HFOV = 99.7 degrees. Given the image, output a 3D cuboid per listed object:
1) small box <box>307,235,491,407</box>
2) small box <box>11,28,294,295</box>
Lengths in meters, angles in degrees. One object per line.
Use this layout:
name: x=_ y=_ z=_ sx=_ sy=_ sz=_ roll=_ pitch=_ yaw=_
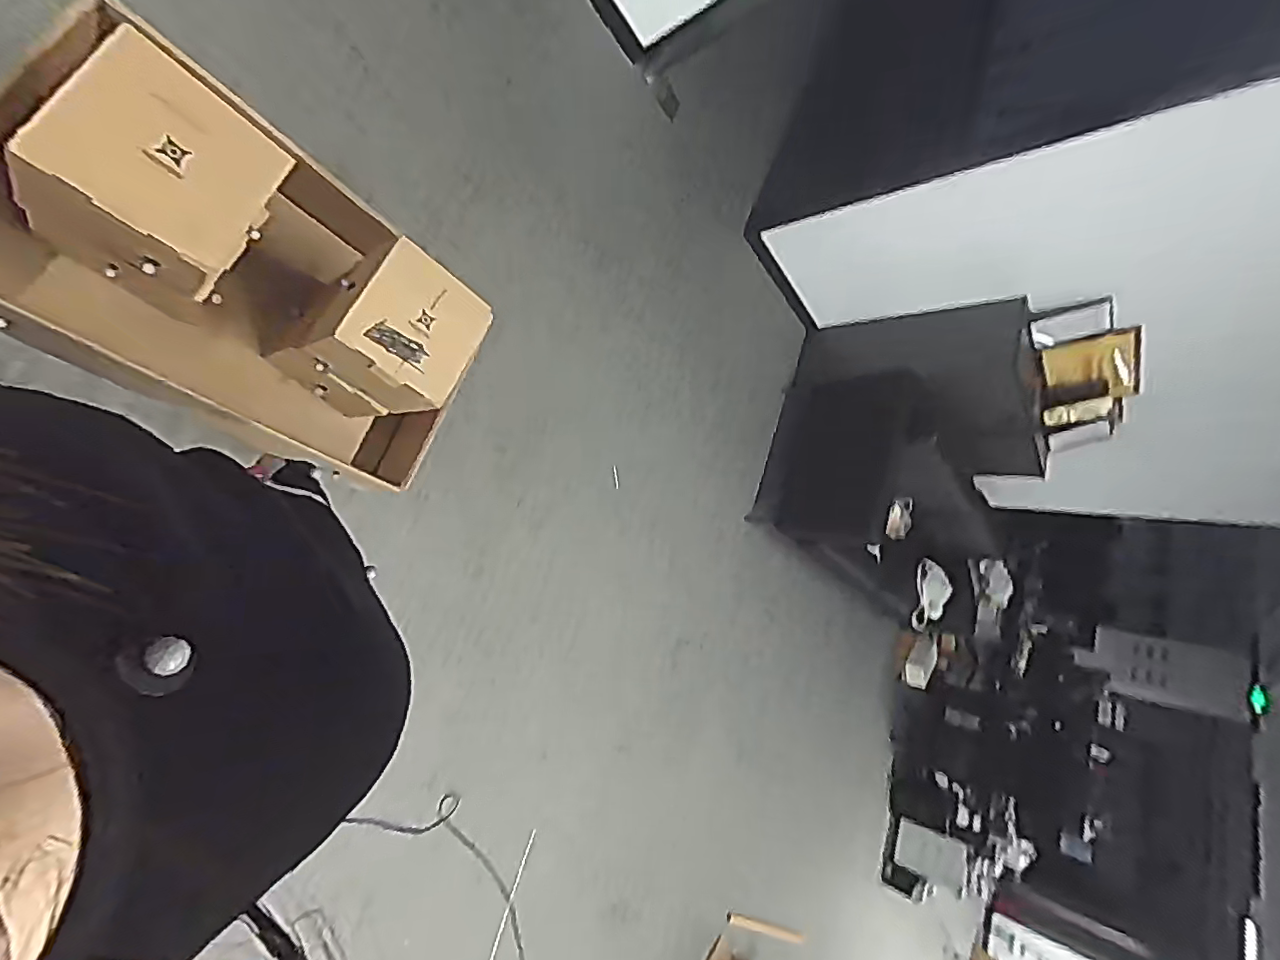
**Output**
small box: x=-0.366 y=-0.224 z=0.813 sx=0.168 sy=0.176 sz=0.179 roll=40 pitch=64 yaw=-41
small box: x=-0.542 y=-0.339 z=0.615 sx=0.168 sy=0.176 sz=0.179 roll=37 pitch=66 yaw=-43
